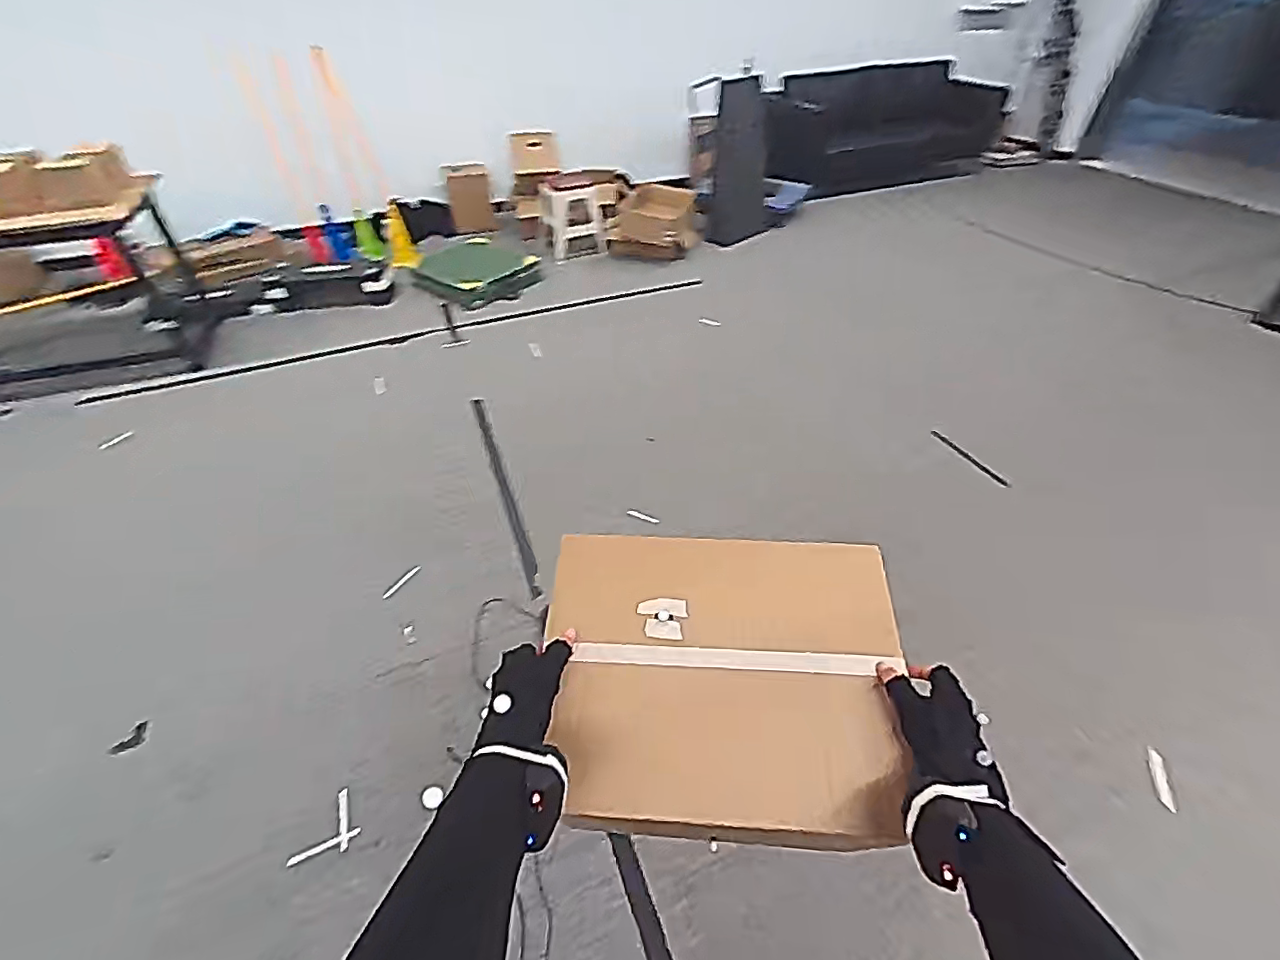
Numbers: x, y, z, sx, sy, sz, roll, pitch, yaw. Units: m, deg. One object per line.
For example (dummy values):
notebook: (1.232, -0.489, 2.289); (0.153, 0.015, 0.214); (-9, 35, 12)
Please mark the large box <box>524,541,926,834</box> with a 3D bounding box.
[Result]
large box: (0.096, 0.291, 0.739); (0.408, 0.320, 0.320); (0, 53, 4)
